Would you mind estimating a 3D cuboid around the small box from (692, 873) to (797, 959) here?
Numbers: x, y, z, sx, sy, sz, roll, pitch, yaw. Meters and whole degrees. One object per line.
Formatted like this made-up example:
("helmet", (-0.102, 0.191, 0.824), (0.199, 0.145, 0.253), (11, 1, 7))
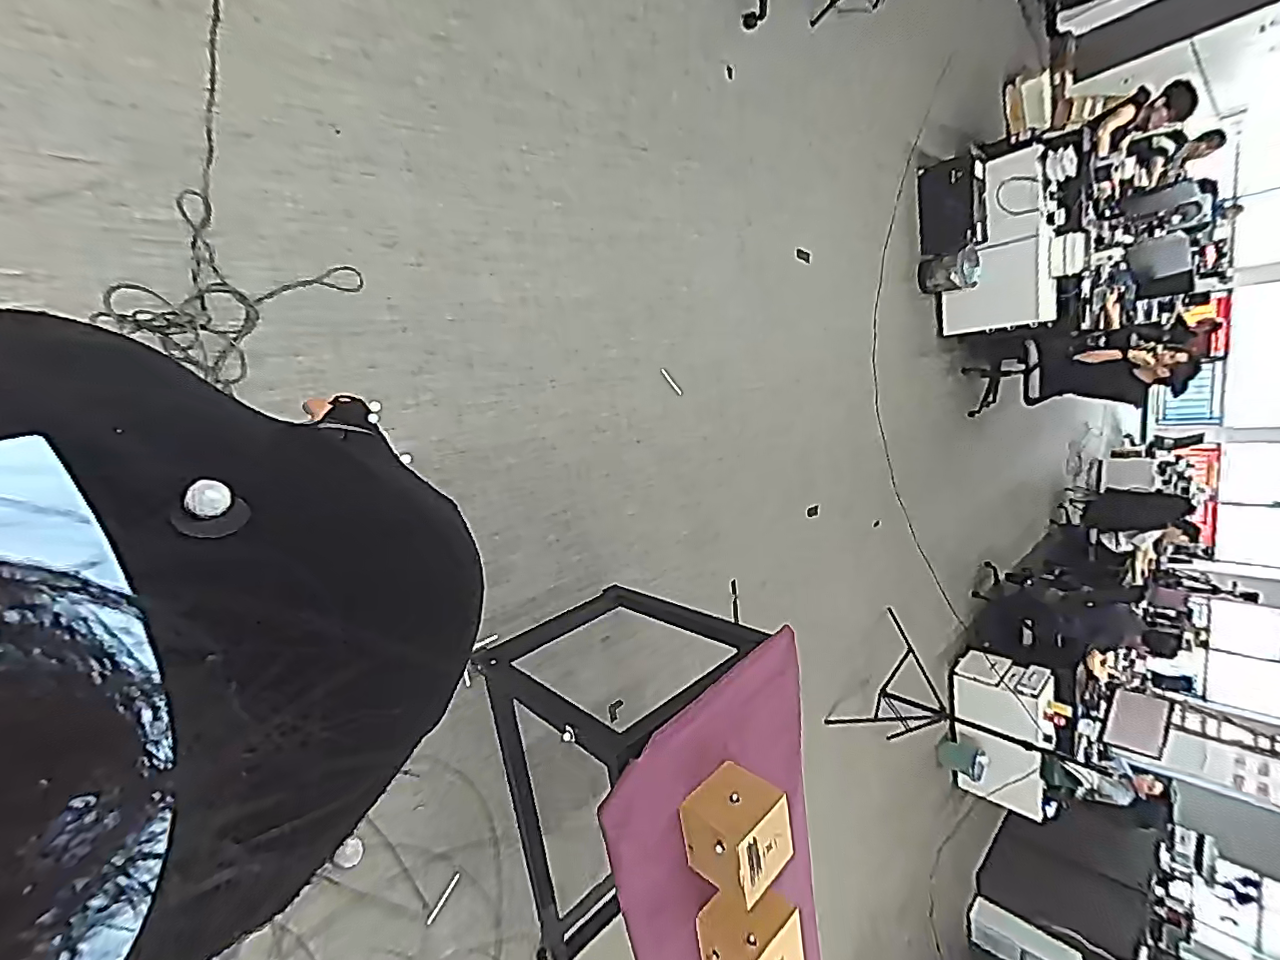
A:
("small box", (0.245, 1.080, 1.260), (0.179, 0.176, 0.168), (-17, 104, -39))
